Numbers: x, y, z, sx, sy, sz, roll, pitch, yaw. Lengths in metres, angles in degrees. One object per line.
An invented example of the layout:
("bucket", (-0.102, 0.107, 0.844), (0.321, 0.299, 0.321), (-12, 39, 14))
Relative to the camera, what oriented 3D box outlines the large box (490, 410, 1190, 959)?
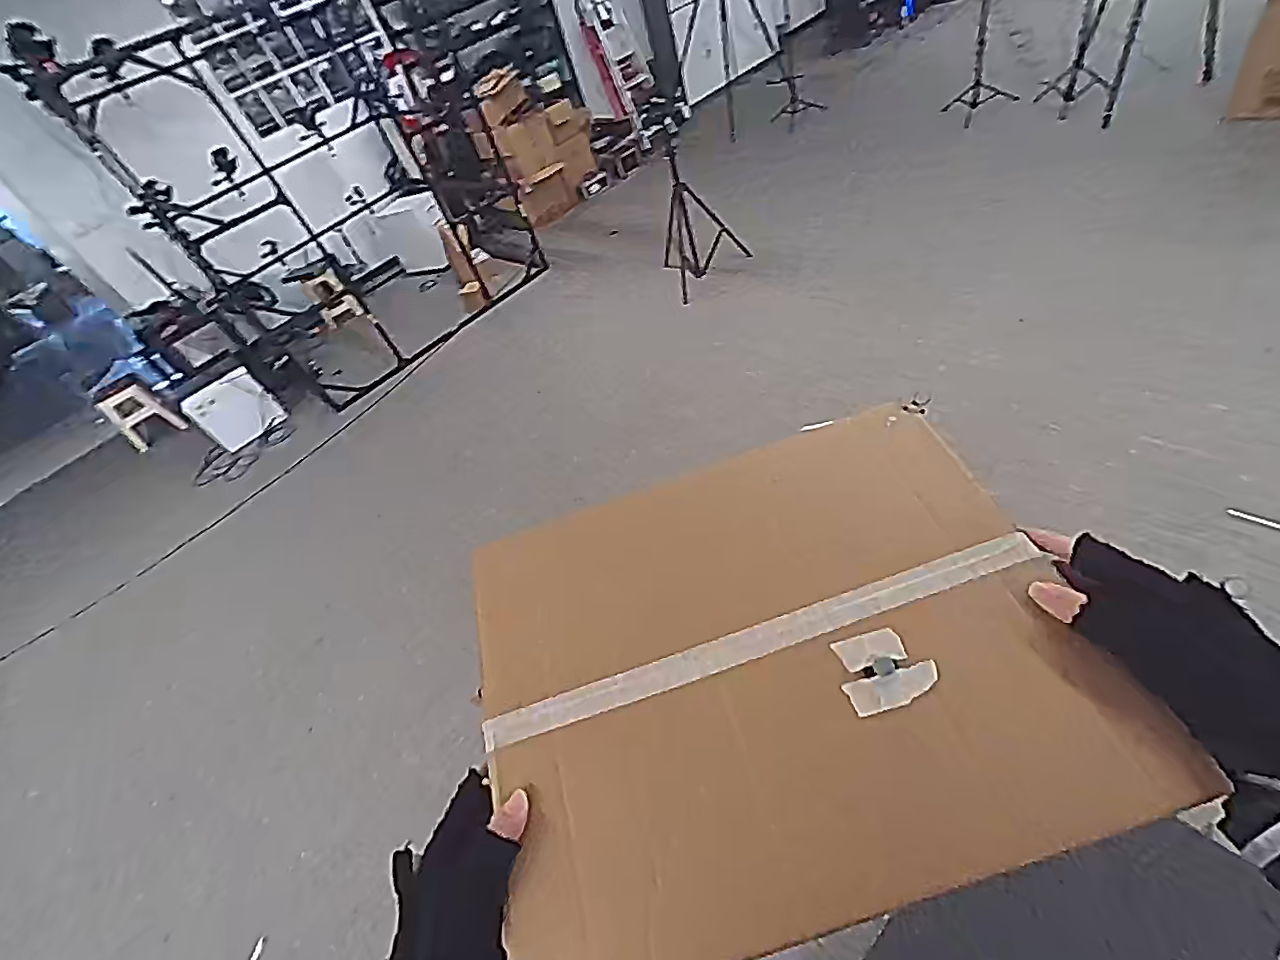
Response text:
("large box", (0.119, 0.201, 0.515), (0.408, 0.320, 0.320), (-19, 54, 1))
